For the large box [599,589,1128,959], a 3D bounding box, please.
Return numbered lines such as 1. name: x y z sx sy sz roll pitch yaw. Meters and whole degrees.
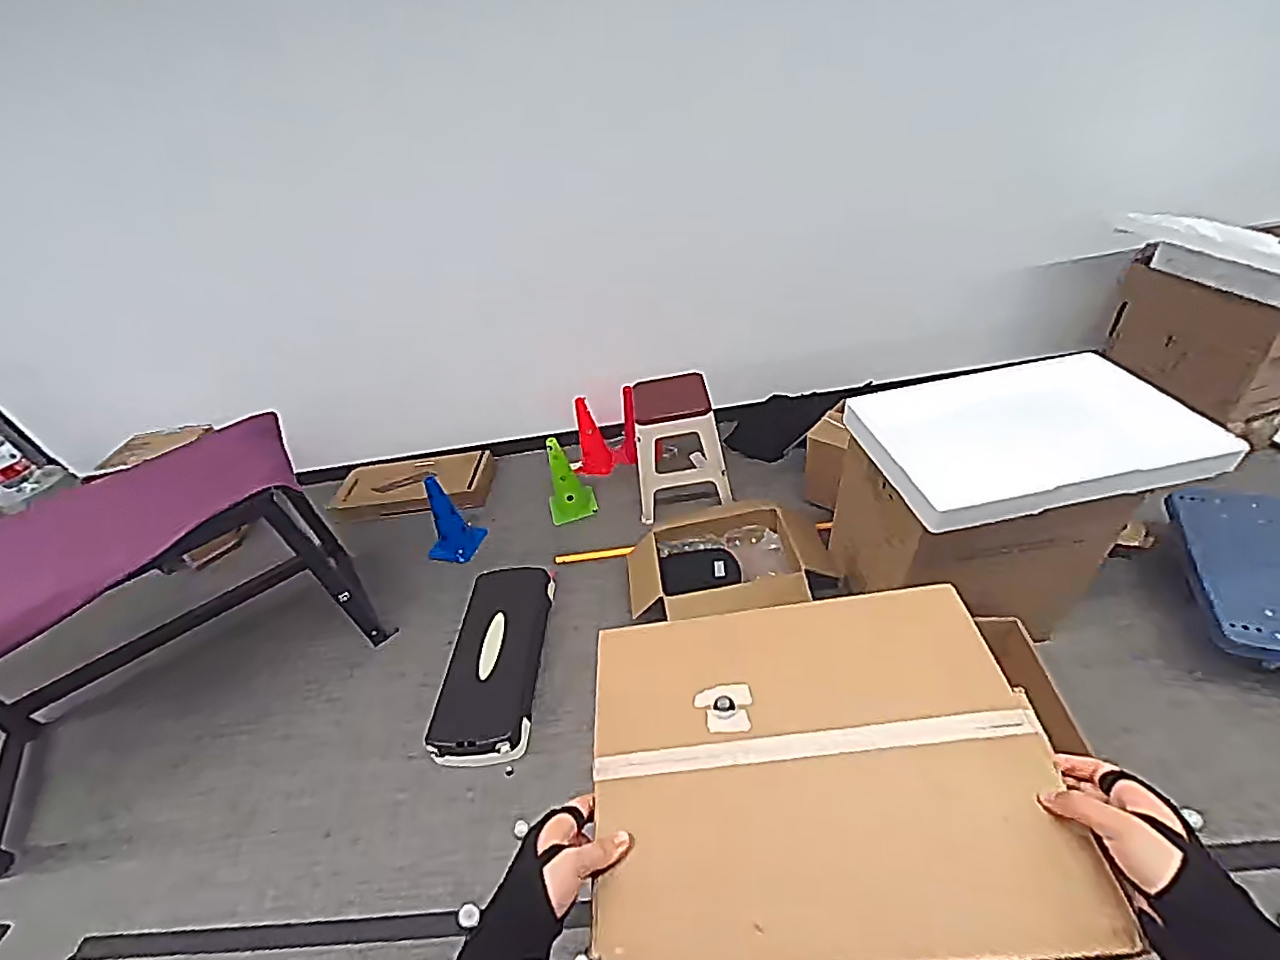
1. large box: 0.189 0.367 0.617 0.408 0.320 0.320 -11 41 7
